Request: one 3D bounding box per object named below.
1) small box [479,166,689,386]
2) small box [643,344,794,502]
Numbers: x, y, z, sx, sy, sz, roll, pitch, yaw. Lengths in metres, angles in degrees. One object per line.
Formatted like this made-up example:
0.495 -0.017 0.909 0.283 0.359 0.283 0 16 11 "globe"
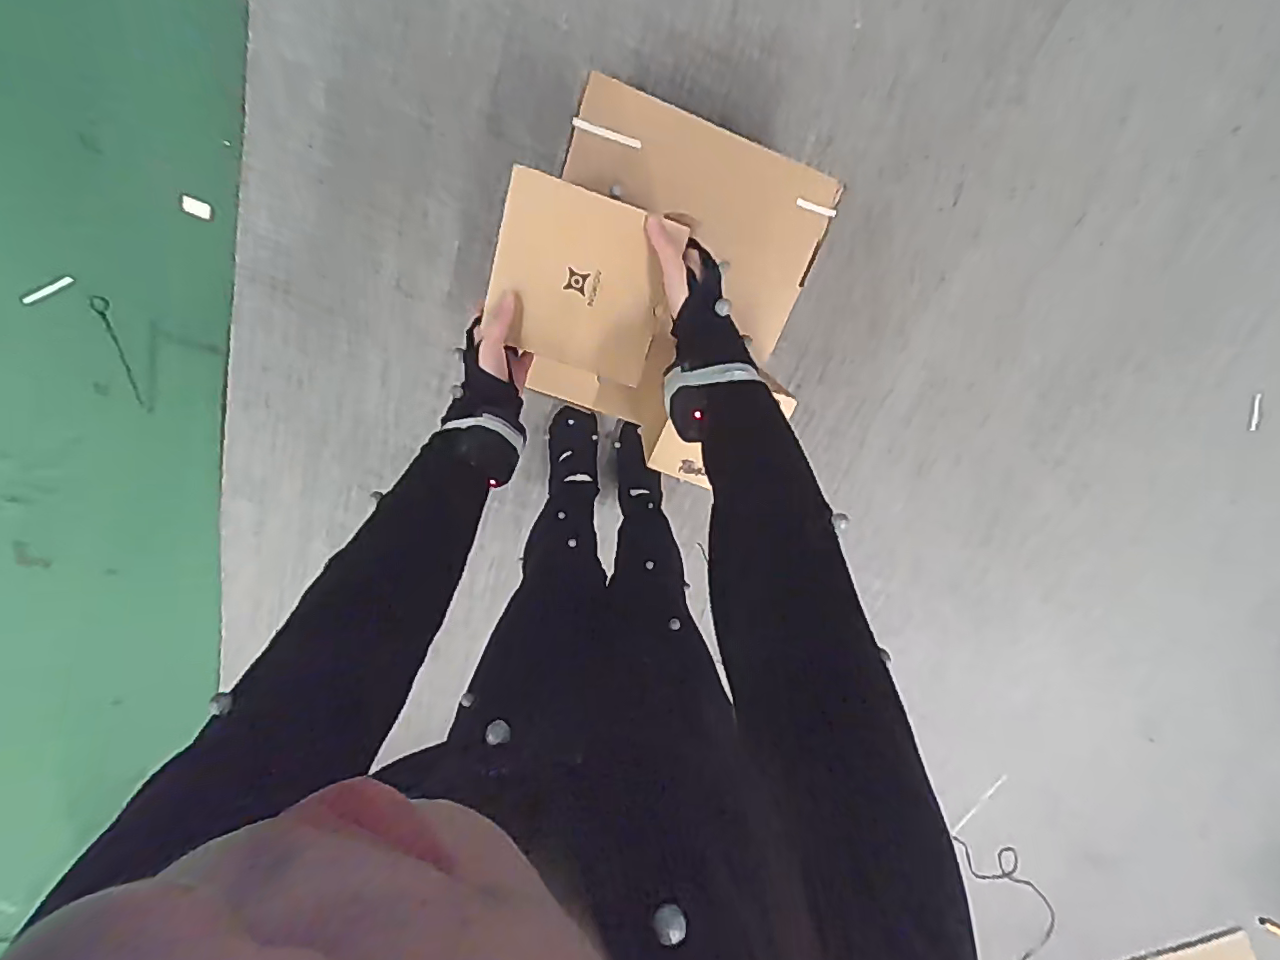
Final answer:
-0.061 -0.227 0.612 0.179 0.176 0.168 16 113 -9 "small box"
0.110 -0.099 0.857 0.168 0.176 0.179 20 111 -12 "small box"
